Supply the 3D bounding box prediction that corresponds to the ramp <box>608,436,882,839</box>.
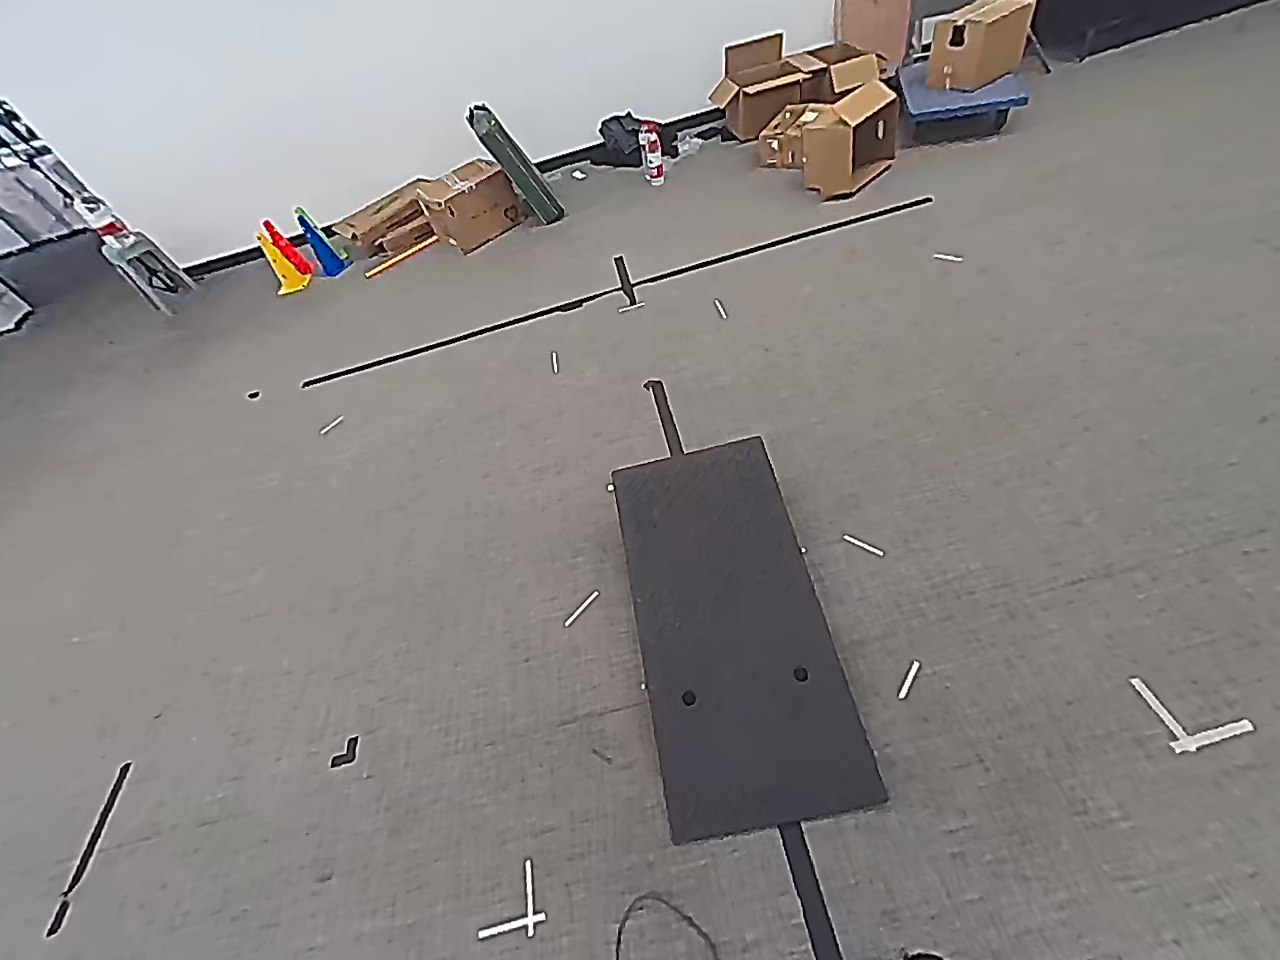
[{"bbox_3d":[0.223,0.340,1.463,0.509,0.206,0.991,-14,49,2],"label":"ramp"}]
